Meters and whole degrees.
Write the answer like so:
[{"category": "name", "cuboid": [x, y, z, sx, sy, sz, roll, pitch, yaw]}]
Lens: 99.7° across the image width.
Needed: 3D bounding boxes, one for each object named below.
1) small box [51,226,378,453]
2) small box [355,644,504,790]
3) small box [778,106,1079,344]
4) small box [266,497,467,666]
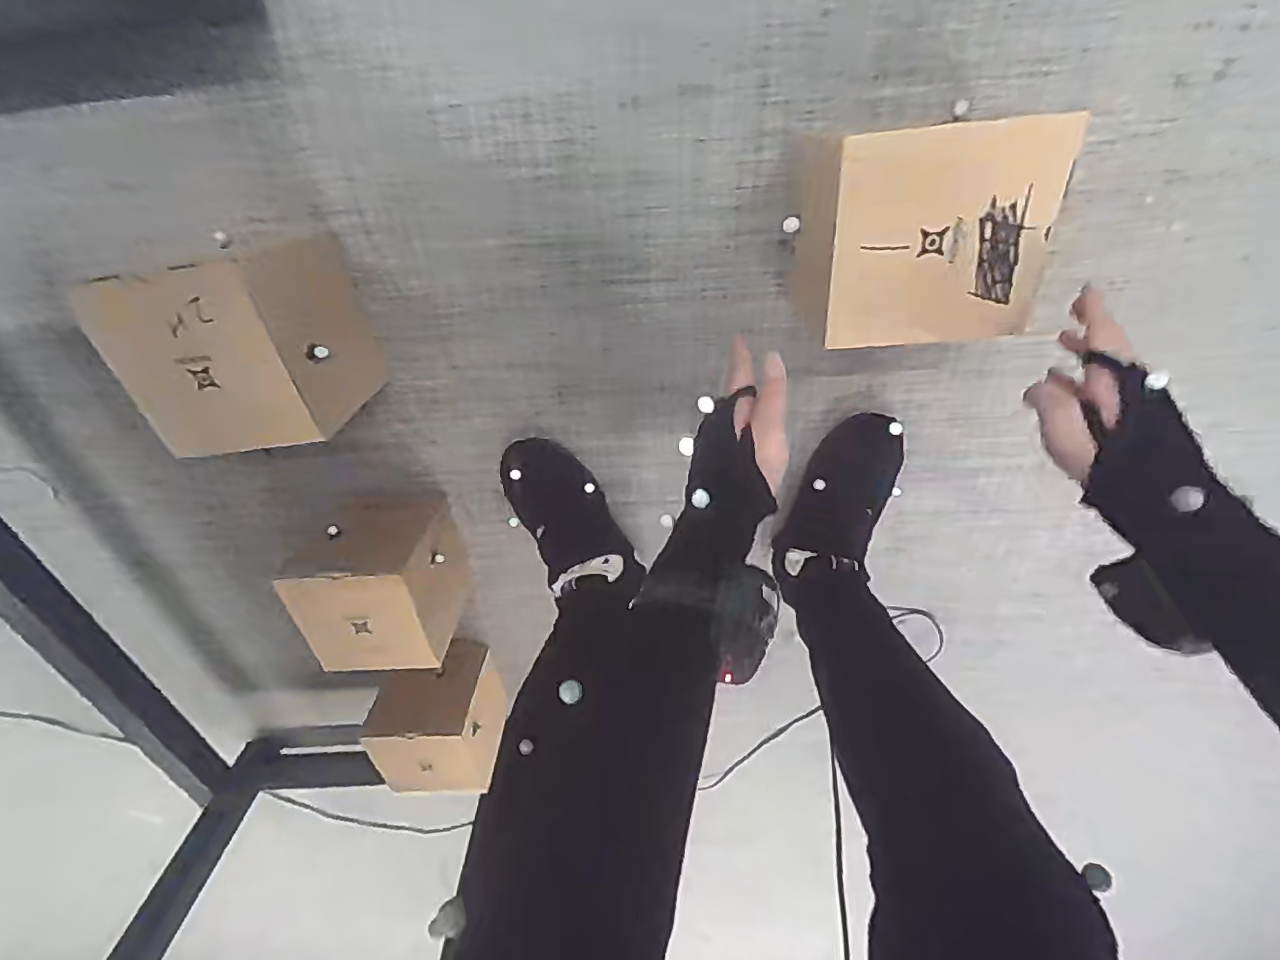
[{"category": "small box", "cuboid": [-0.410, -0.150, 0.566, 0.168, 0.176, 0.179, -6, 123, 5]}, {"category": "small box", "cuboid": [-0.346, 0.405, 0.930, 0.168, 0.176, 0.179, -4, 123, 4]}, {"category": "small box", "cuboid": [0.234, -0.237, 0.496, 0.179, 0.176, 0.168, -3, 123, 5]}, {"category": "small box", "cuboid": [-0.360, 0.133, 0.752, 0.168, 0.176, 0.179, -2, 124, 4]}]
